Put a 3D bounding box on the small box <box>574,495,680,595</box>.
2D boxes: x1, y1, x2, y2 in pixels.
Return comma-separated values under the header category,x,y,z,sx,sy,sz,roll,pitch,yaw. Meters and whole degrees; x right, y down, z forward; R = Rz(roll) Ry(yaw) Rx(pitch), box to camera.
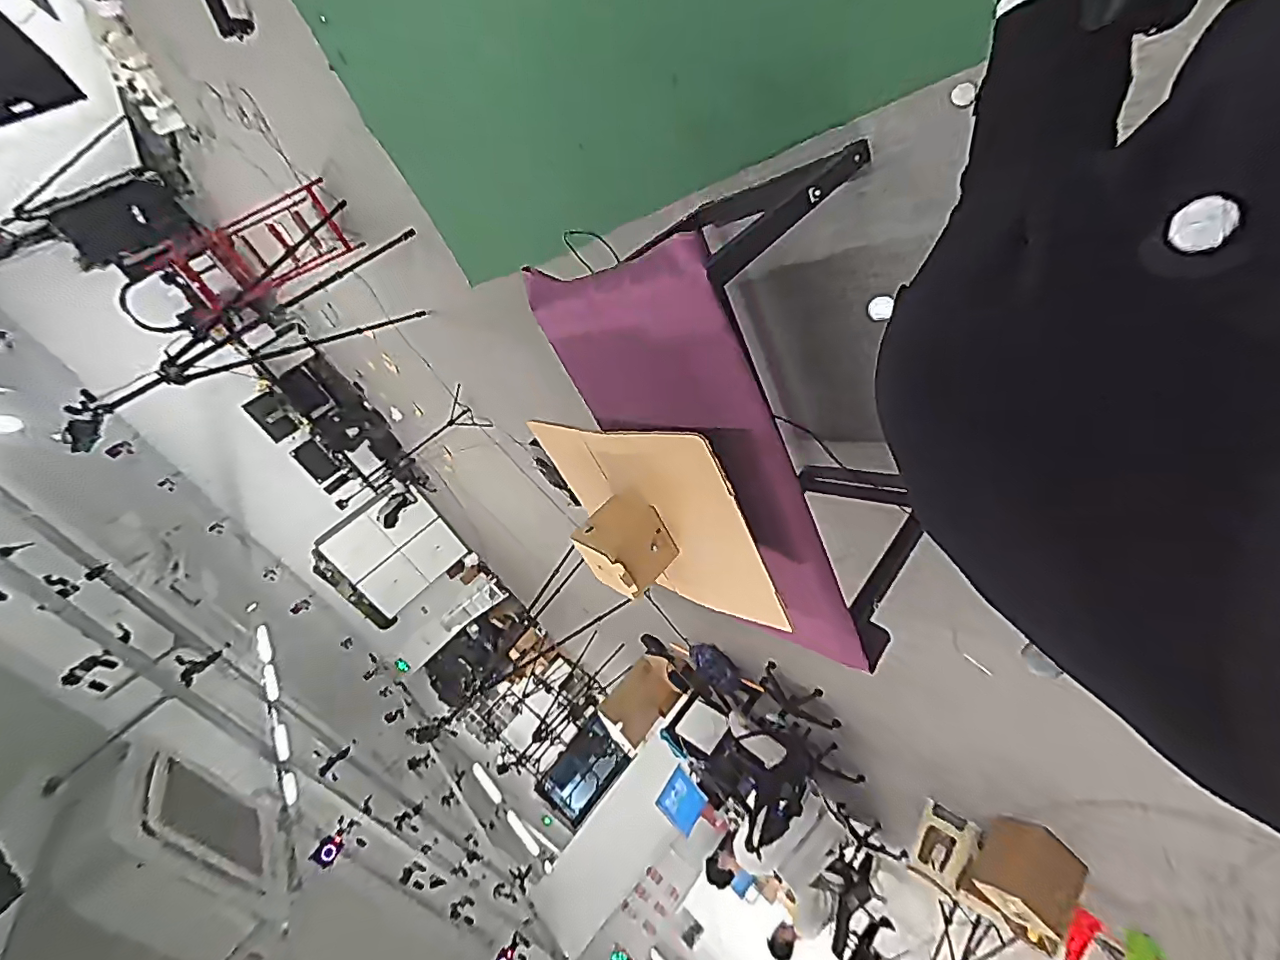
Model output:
category,x,y,z,sx,sy,sz,roll,pitch,yaw
small box,-0.030,0.159,1.389,0.179,0.176,0.168,14,142,50
